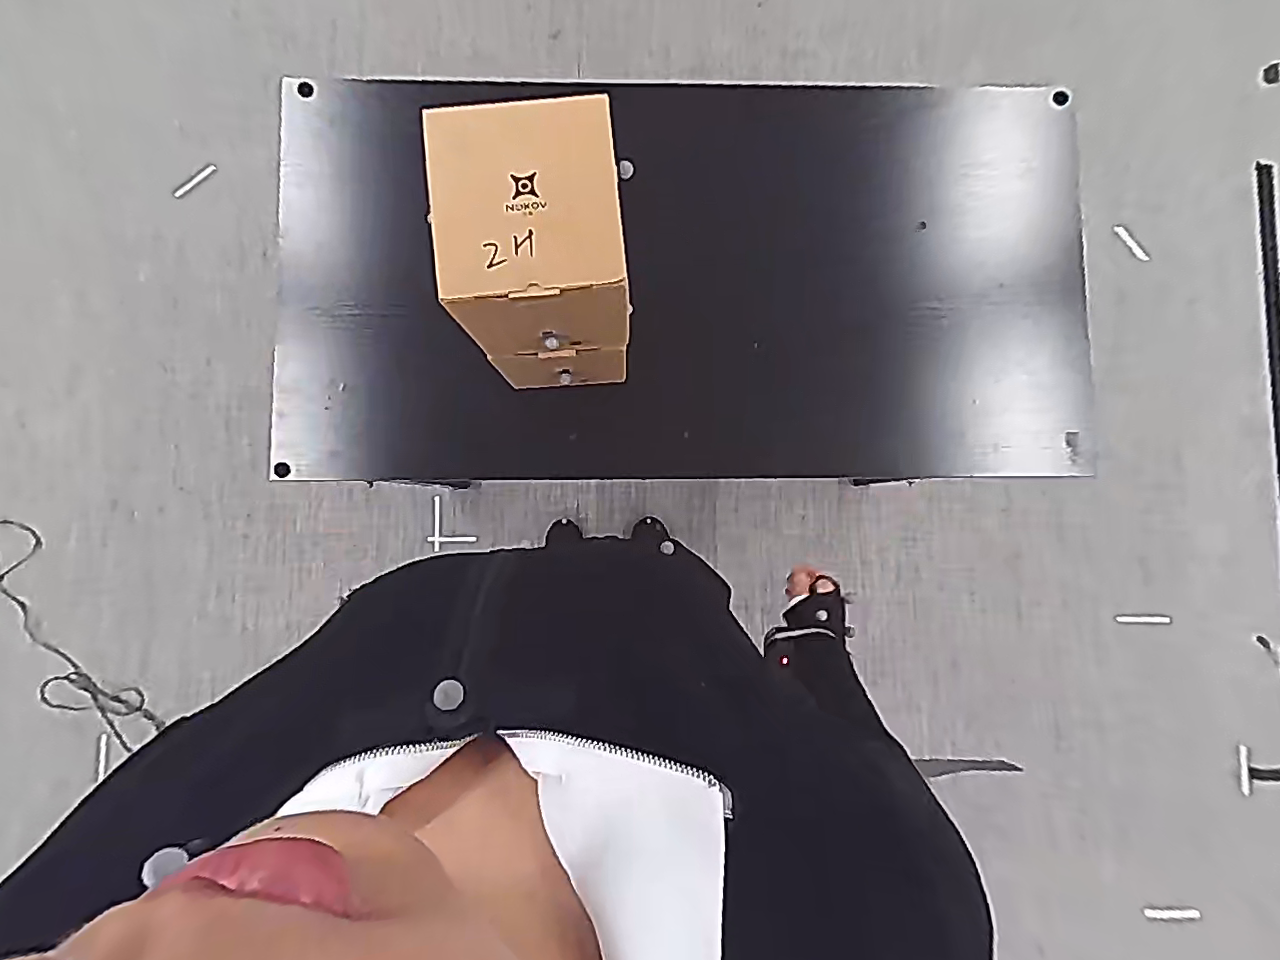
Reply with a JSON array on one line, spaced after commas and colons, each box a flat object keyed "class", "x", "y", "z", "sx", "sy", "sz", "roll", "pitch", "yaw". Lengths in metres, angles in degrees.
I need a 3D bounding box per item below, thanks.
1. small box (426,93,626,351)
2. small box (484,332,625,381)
[{"class": "small box", "x": -0.104, "y": -0.248, "z": 0.555, "sx": 0.168, "sy": 0.176, "sz": 0.179, "roll": -6, "pitch": 87, "yaw": -1}, {"class": "small box", "x": -0.108, "y": -0.234, "z": 0.721, "sx": 0.168, "sy": 0.176, "sz": 0.179, "roll": -4, "pitch": 87, "yaw": -1}]
